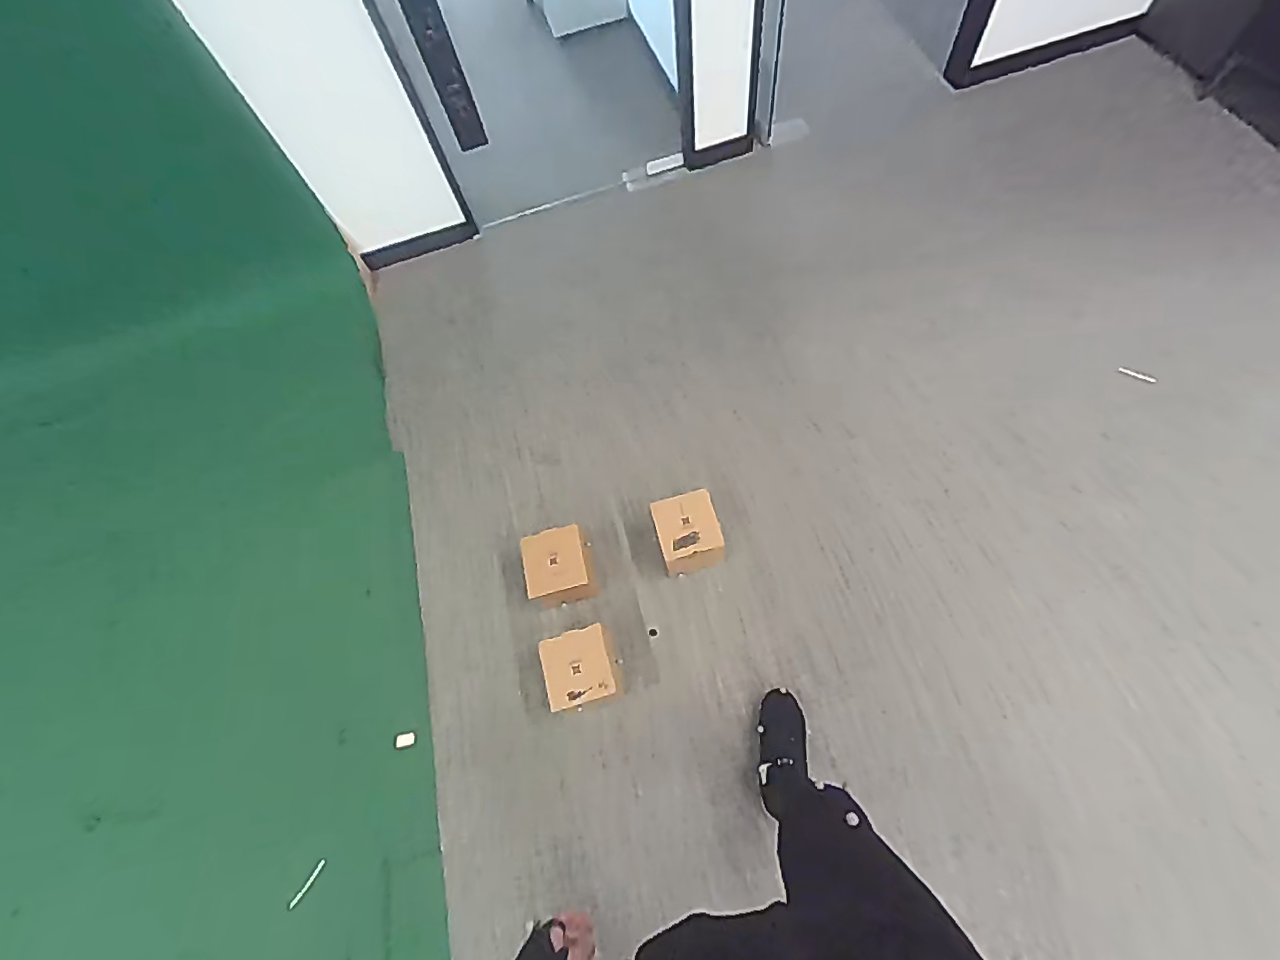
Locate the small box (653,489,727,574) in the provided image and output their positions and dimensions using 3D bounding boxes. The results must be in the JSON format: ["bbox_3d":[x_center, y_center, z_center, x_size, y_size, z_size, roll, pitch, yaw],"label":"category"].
[{"bbox_3d":[0.143,0.154,1.523,0.168,0.176,0.179,-16,63,1],"label":"small box"}]

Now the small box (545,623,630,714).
[{"bbox_3d":[-0.134,0.494,1.405,0.168,0.176,0.179,-17,63,1],"label":"small box"}]
